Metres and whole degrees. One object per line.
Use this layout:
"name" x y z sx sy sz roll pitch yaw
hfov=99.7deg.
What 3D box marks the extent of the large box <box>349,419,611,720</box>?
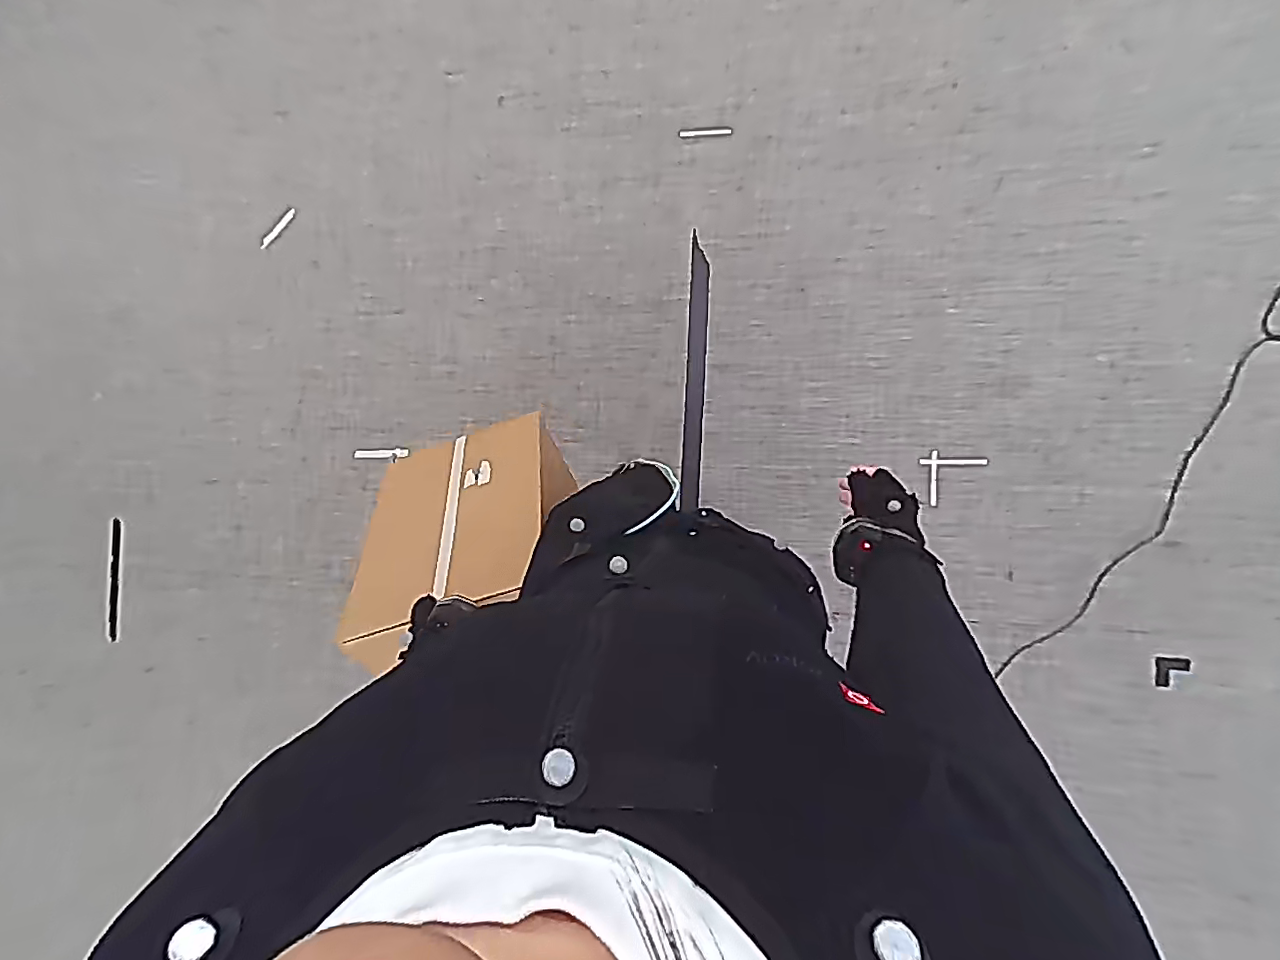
"large box" -0.263 0.159 1.008 0.320 0.320 0.408 -18 41 5
